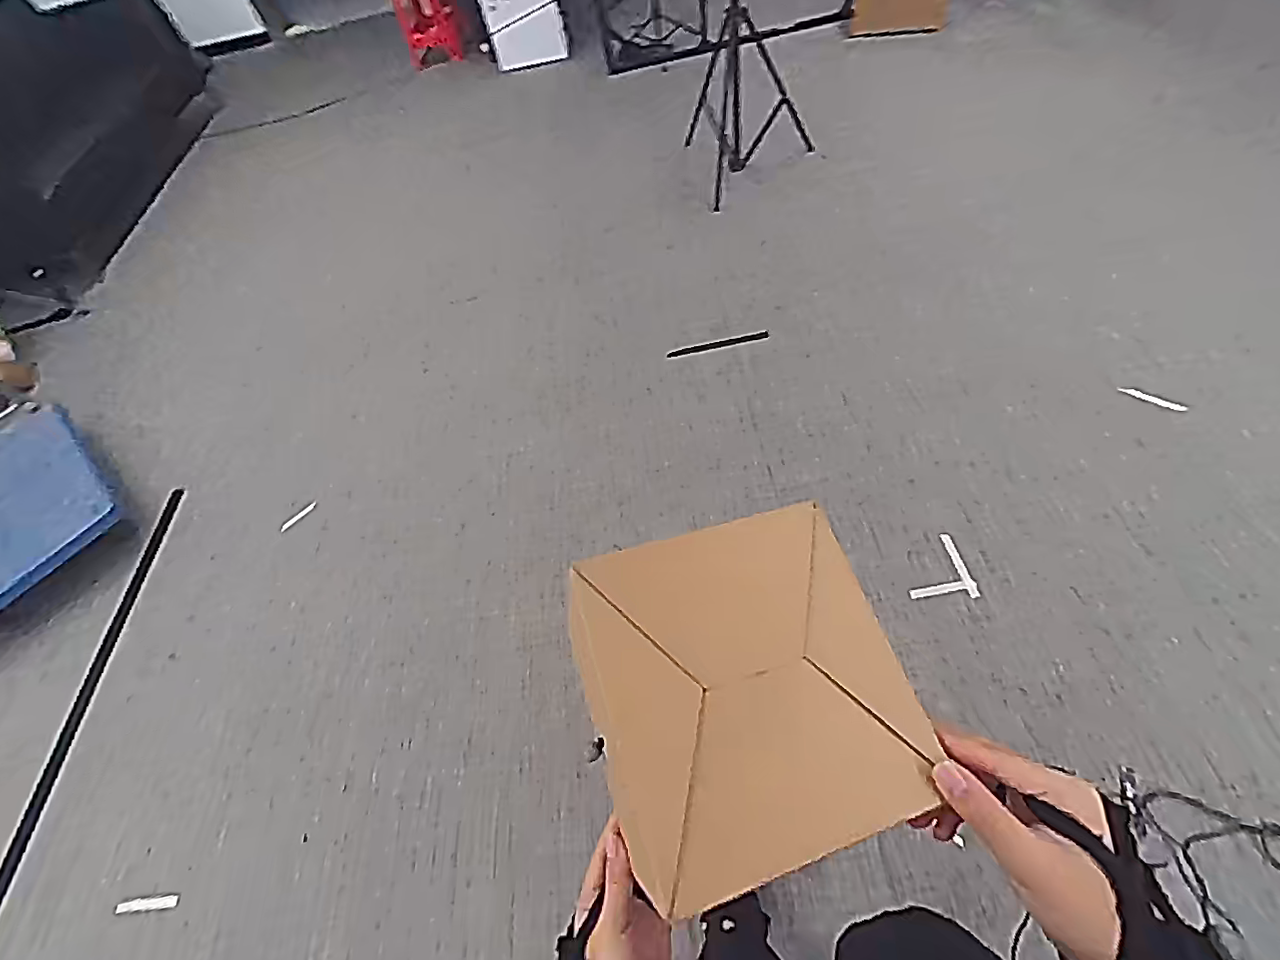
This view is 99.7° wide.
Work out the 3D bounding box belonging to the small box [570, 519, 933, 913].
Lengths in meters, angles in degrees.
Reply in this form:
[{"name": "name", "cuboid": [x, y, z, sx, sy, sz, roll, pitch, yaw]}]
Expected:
[{"name": "small box", "cuboid": [0.054, 0.146, 0.367, 0.168, 0.176, 0.179, -12, 64, -14]}]
